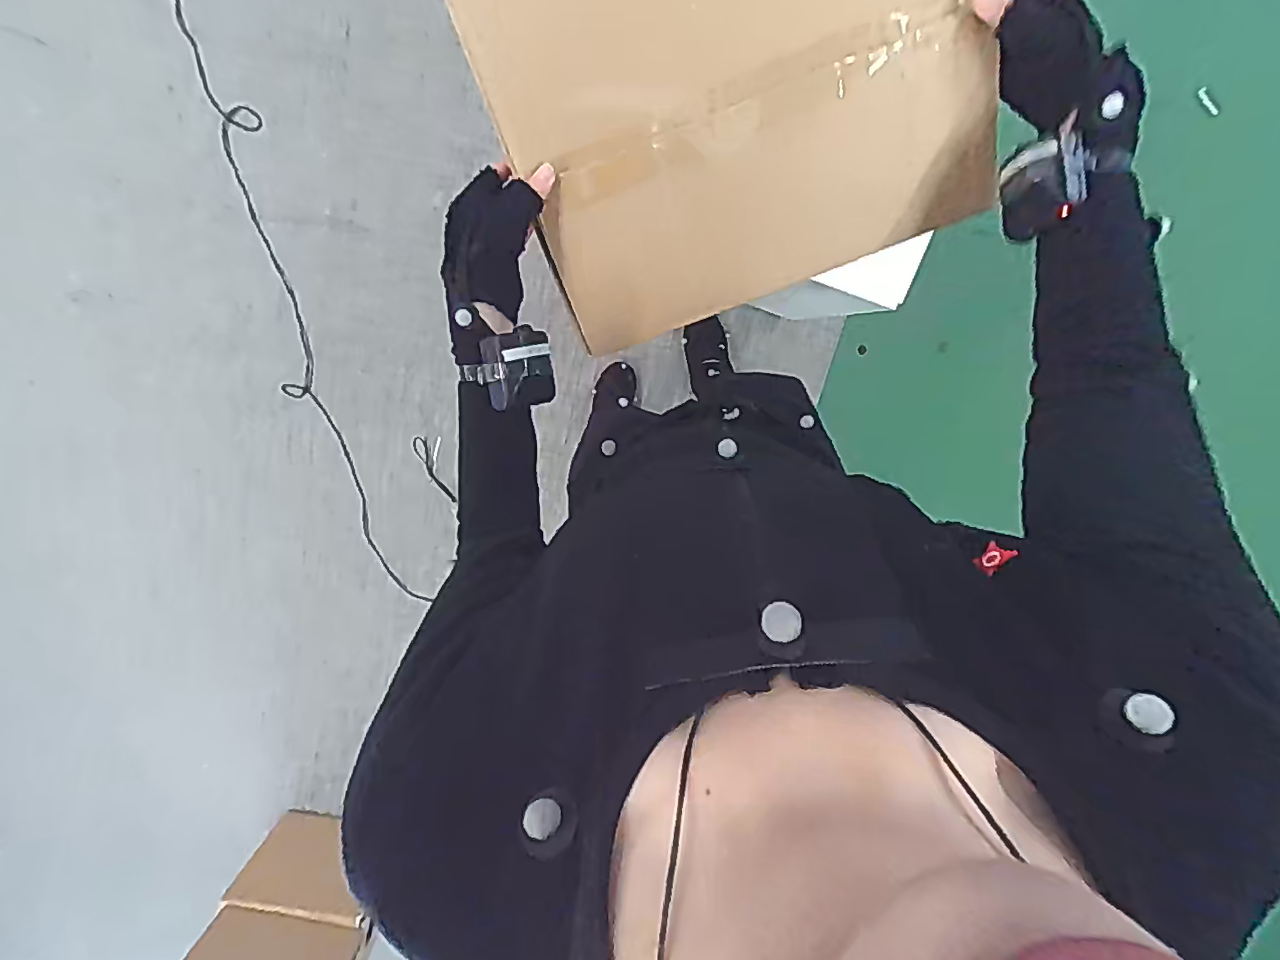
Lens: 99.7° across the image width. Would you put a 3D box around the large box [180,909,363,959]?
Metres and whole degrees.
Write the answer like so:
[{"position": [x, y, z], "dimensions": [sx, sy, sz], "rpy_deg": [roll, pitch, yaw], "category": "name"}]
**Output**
[{"position": [-1.011, 1.407, 1.403], "dimensions": [0.408, 0.320, 0.320], "rpy_deg": [14, 99, -4], "category": "large box"}]
